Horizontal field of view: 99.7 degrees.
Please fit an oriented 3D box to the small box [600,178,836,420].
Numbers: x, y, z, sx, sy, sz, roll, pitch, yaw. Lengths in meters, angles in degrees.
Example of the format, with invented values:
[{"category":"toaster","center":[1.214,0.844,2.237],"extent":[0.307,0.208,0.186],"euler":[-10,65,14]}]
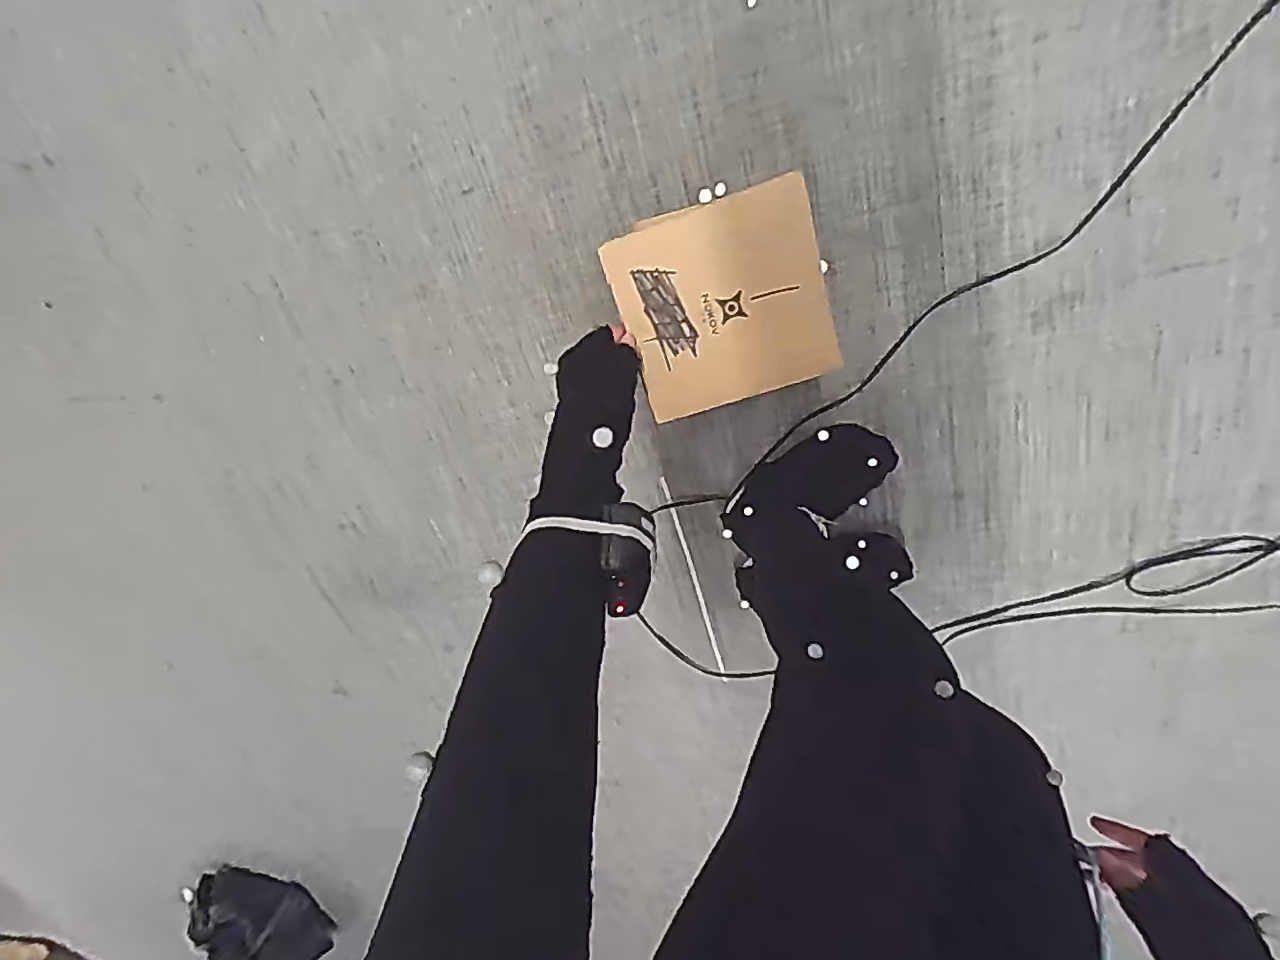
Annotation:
[{"category":"small box","center":[0.082,-0.179,0.542],"extent":[0.179,0.176,0.168],"euler":[-14,113,16]}]
